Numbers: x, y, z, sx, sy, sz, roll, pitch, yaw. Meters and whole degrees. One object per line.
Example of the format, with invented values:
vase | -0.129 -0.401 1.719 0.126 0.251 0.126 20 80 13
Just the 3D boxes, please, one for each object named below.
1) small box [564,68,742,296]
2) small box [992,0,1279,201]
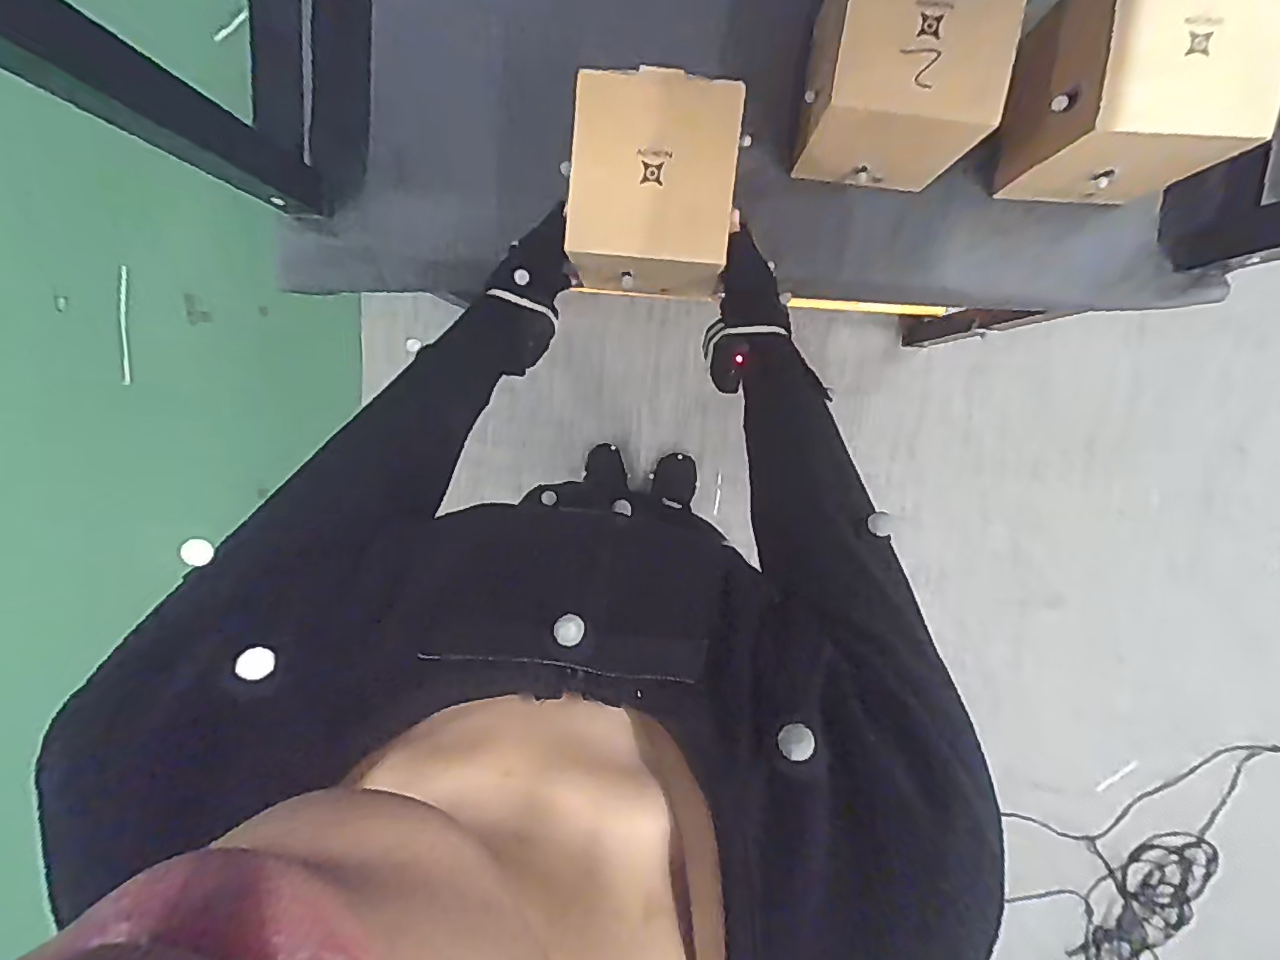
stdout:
small box | 0.015 -0.321 0.619 0.168 0.176 0.179 6 96 1
small box | 0.520 -0.425 0.586 0.168 0.176 0.179 4 97 1
